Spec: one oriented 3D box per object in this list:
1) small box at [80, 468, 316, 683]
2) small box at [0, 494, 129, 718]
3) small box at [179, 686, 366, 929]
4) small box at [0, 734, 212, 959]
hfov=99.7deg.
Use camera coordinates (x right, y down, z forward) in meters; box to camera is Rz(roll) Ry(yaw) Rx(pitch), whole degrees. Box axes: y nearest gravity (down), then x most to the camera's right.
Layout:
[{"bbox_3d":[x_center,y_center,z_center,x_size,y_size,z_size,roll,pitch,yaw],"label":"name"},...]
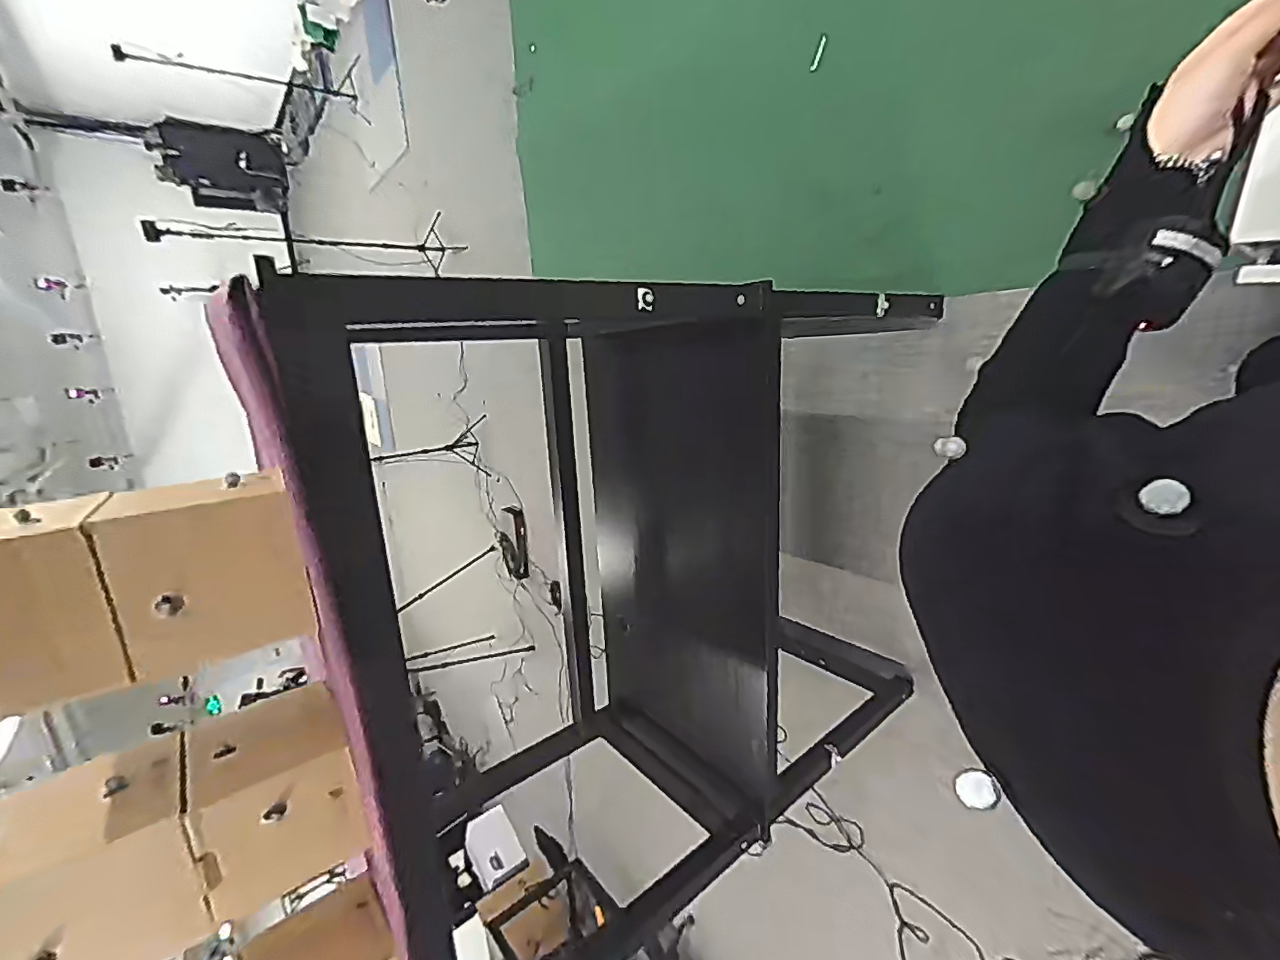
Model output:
[{"bbox_3d":[-0.492,0.094,0.629,0.168,0.176,0.179,14,112,52],"label":"small box"},{"bbox_3d":[-0.625,0.126,0.541,0.168,0.176,0.179,15,113,52],"label":"small box"},{"bbox_3d":[-0.466,0.398,0.698,0.179,0.176,0.168,16,113,50],"label":"small box"},{"bbox_3d":[-0.595,0.429,0.600,0.168,0.176,0.179,16,113,48],"label":"small box"}]
